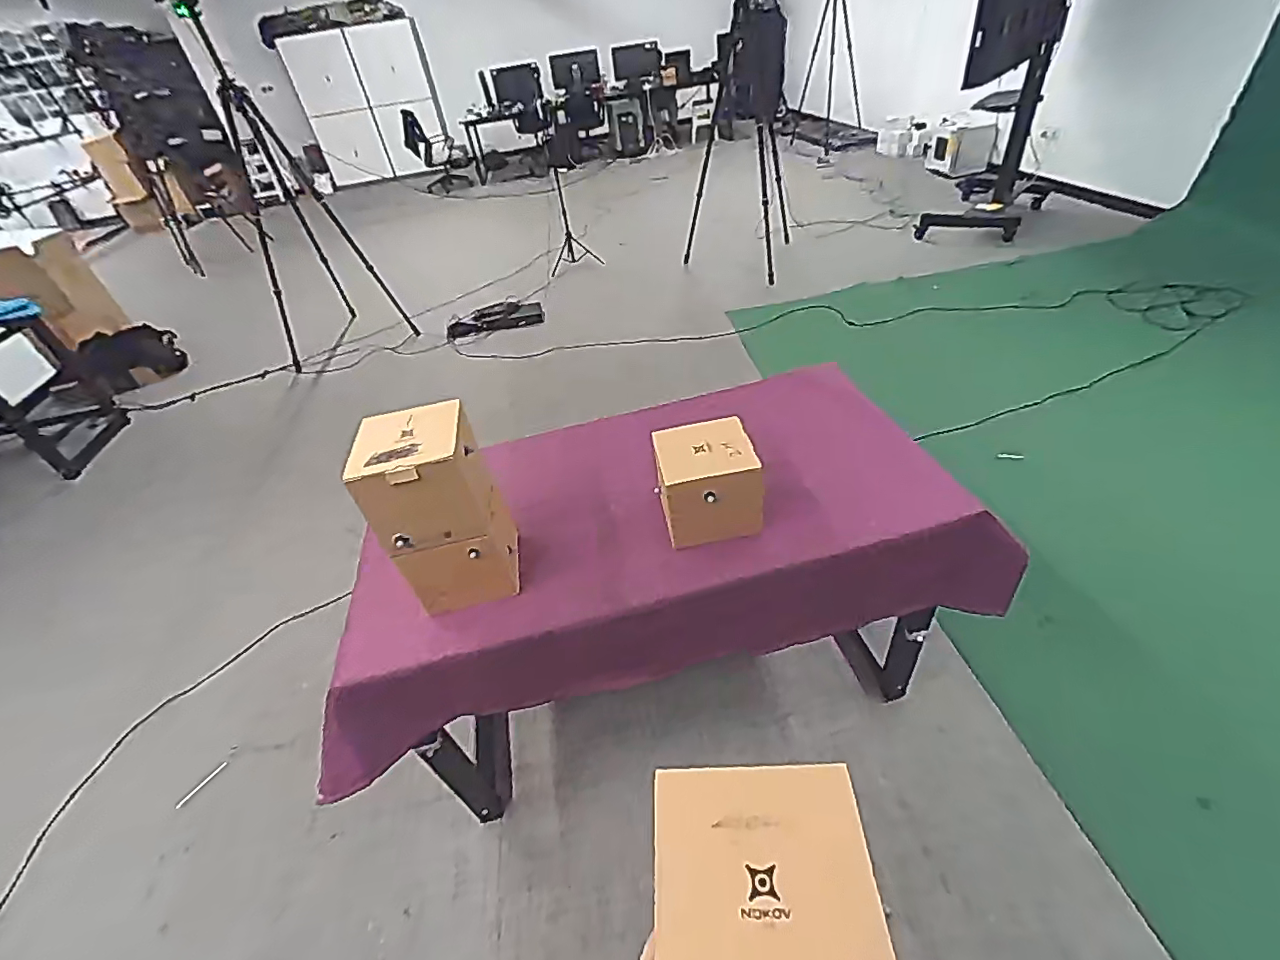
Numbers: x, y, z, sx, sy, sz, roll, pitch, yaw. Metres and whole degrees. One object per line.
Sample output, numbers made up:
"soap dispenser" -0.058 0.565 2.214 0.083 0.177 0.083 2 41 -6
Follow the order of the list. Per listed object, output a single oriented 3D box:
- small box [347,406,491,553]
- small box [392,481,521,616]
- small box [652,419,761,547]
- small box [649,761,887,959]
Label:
"small box" -0.358 0.004 0.912 0.168 0.176 0.179 -14 39 -4
"small box" -0.332 0.131 1.014 0.179 0.176 0.168 -13 40 -4
"small box" 0.130 0.009 1.048 0.179 0.176 0.168 -11 41 0
"small box" 0.102 0.364 0.458 0.168 0.176 0.179 -5 40 7
